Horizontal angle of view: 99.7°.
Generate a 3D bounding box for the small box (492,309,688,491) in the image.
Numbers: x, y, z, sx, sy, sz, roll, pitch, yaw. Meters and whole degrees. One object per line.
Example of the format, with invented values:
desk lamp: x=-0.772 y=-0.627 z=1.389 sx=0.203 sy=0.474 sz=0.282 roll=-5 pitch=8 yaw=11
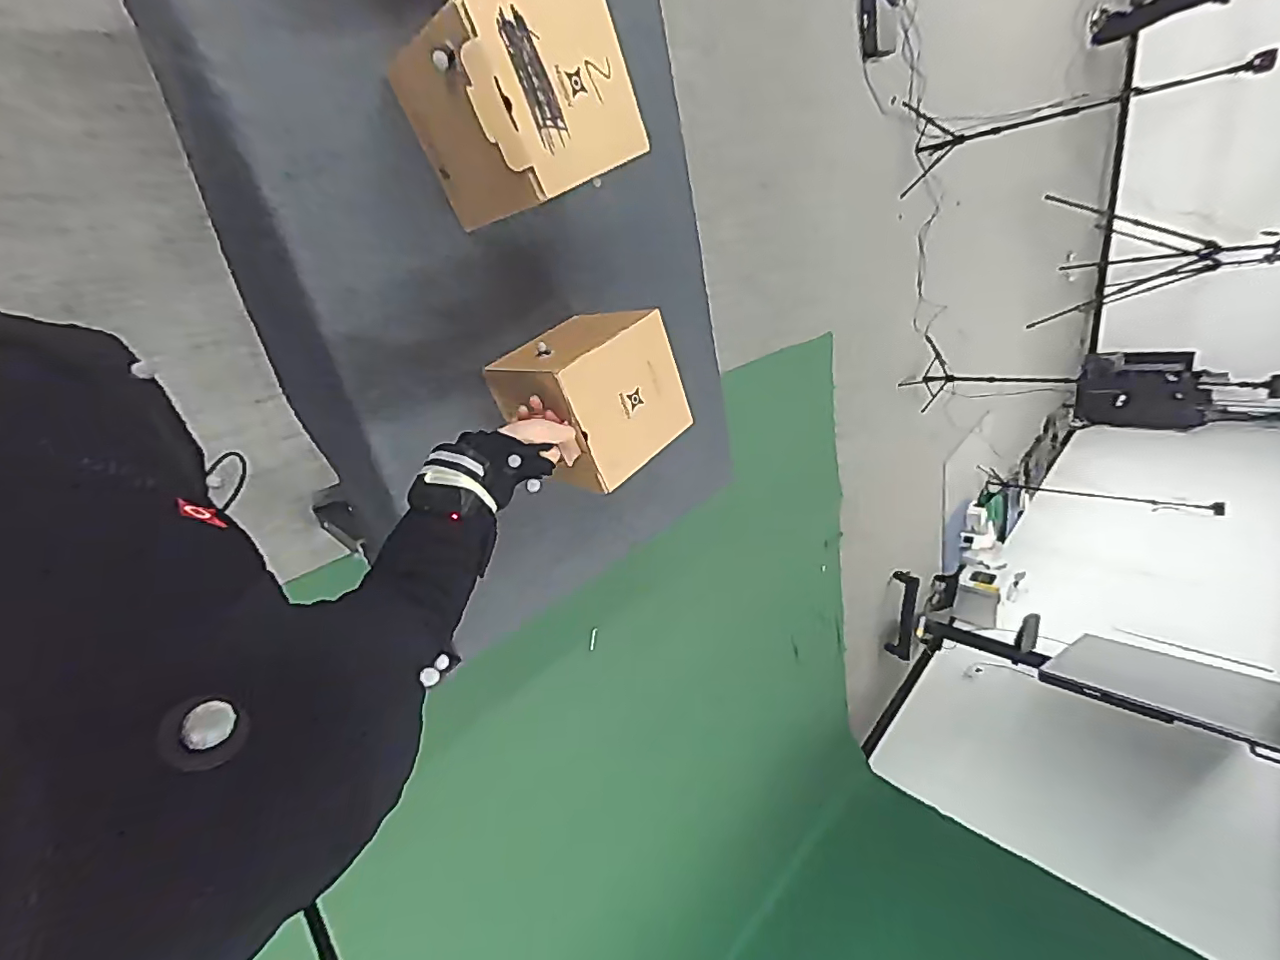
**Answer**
small box: x=-0.070 y=-0.110 z=0.712 sx=0.179 sy=0.176 sz=0.168 roll=-42 pitch=127 yaw=-31
